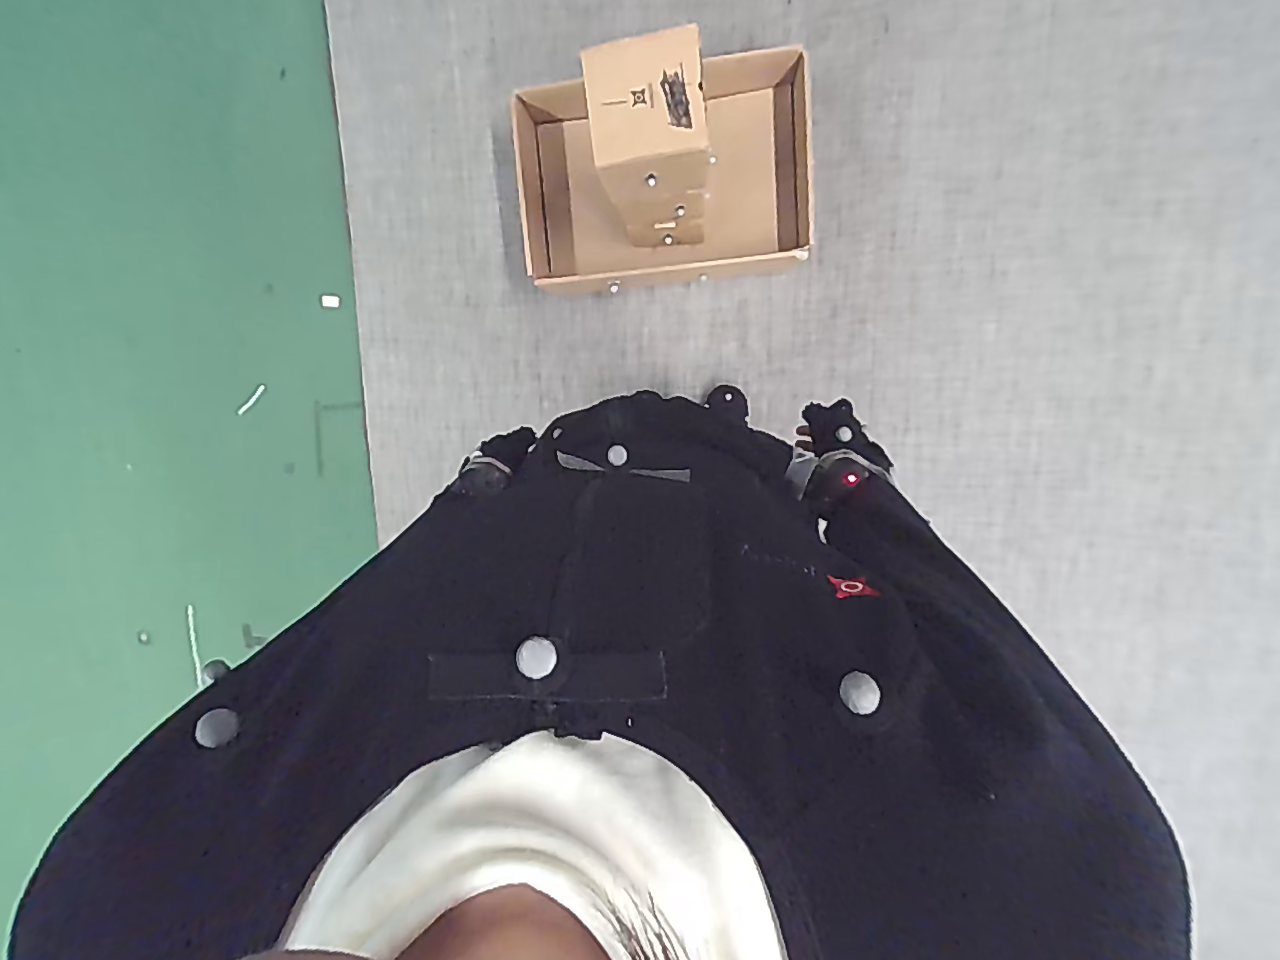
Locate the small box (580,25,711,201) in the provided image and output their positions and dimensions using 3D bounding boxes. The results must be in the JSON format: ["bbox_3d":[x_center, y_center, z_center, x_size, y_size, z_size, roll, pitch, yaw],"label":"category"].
[{"bbox_3d":[0.015,-0.578,0.877,0.179,0.176,0.168,-9,99,7],"label":"small box"}]

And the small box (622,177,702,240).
[{"bbox_3d":[0.053,-0.639,1.195,0.168,0.176,0.179,0,100,8],"label":"small box"}]

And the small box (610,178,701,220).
[{"bbox_3d":[0.033,-0.614,1.036,0.168,0.176,0.179,-1,99,7],"label":"small box"}]
